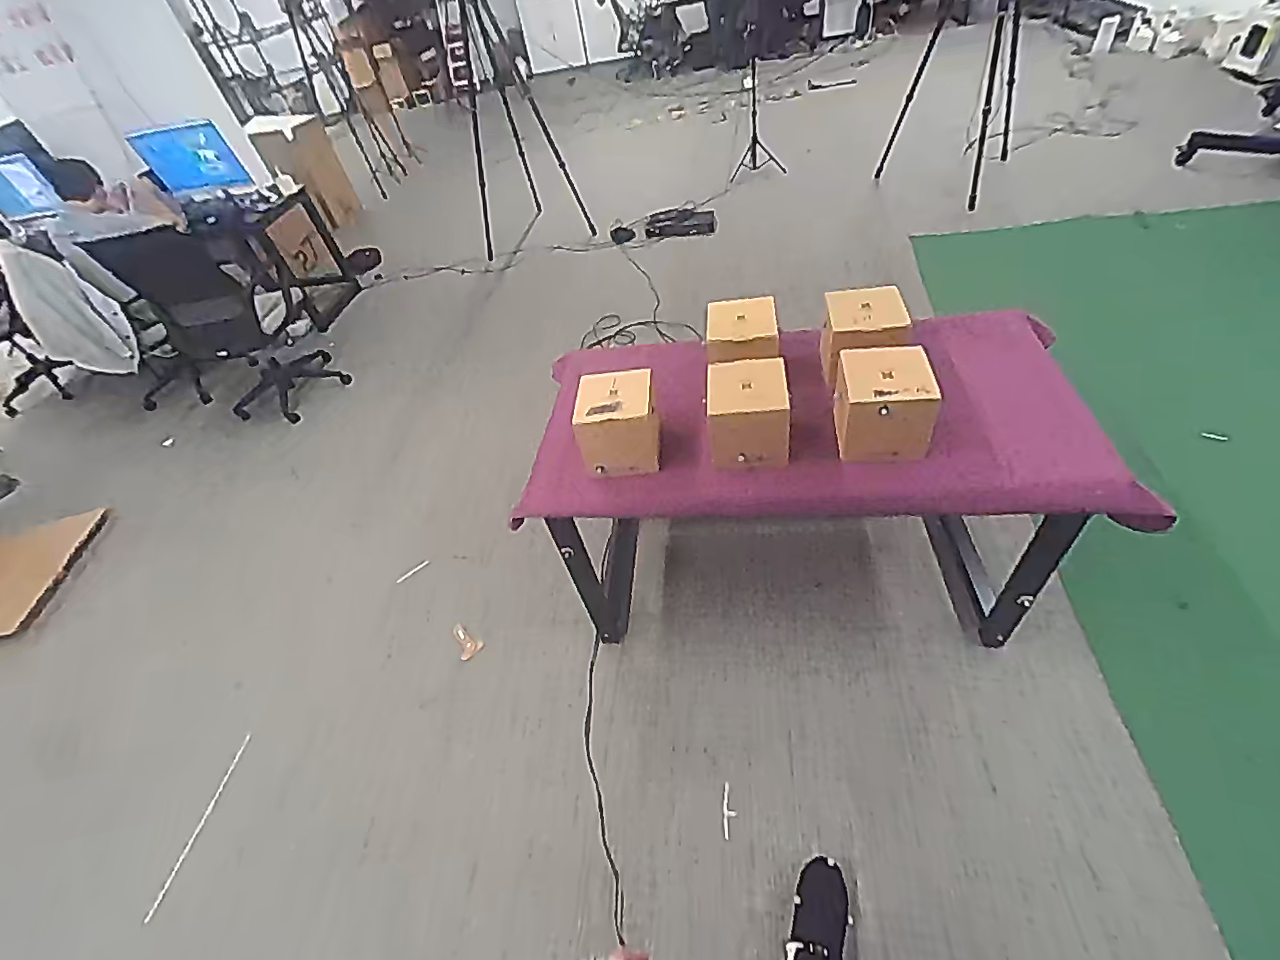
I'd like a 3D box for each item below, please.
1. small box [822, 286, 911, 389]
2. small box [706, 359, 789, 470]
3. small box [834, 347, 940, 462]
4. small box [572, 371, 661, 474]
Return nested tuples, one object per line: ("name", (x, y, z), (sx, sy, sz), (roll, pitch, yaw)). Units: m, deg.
("small box", (0.534, -0.341, 1.301), (0.168, 0.176, 0.179), (-2, 48, 13))
("small box", (0.237, -0.142, 1.193), (0.168, 0.176, 0.179), (-3, 48, 12))
("small box", (0.507, -0.157, 1.137), (0.168, 0.176, 0.179), (-2, 47, 13))
("small box", (-0.045, -0.125, 1.243), (0.168, 0.176, 0.179), (-4, 45, 9))
